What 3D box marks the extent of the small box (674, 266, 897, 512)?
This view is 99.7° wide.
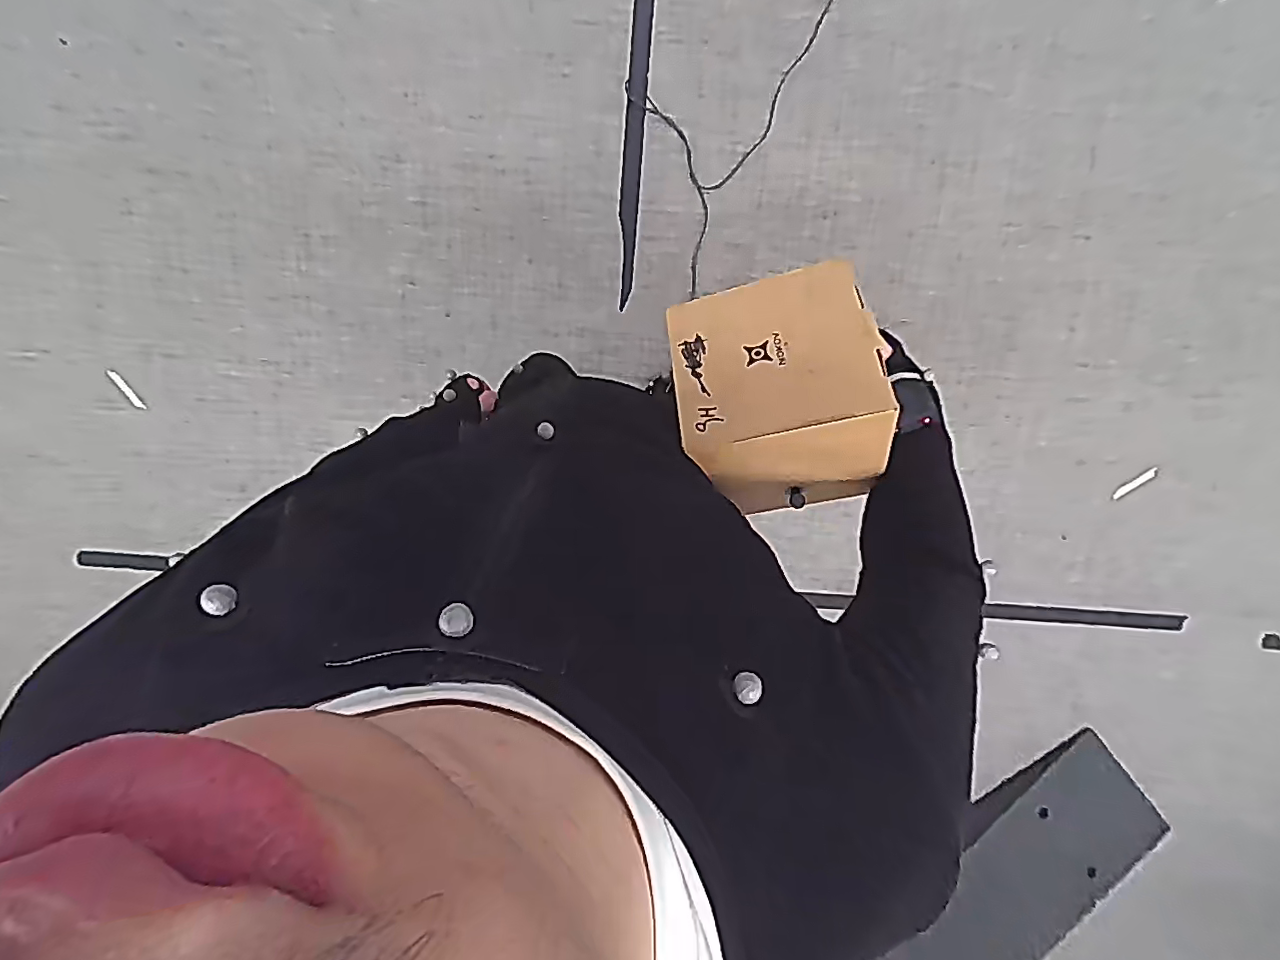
[{"bbox_3d":[0.143,-0.081,0.561,0.179,0.176,0.168,-11,62,13],"label":"small box"}]
